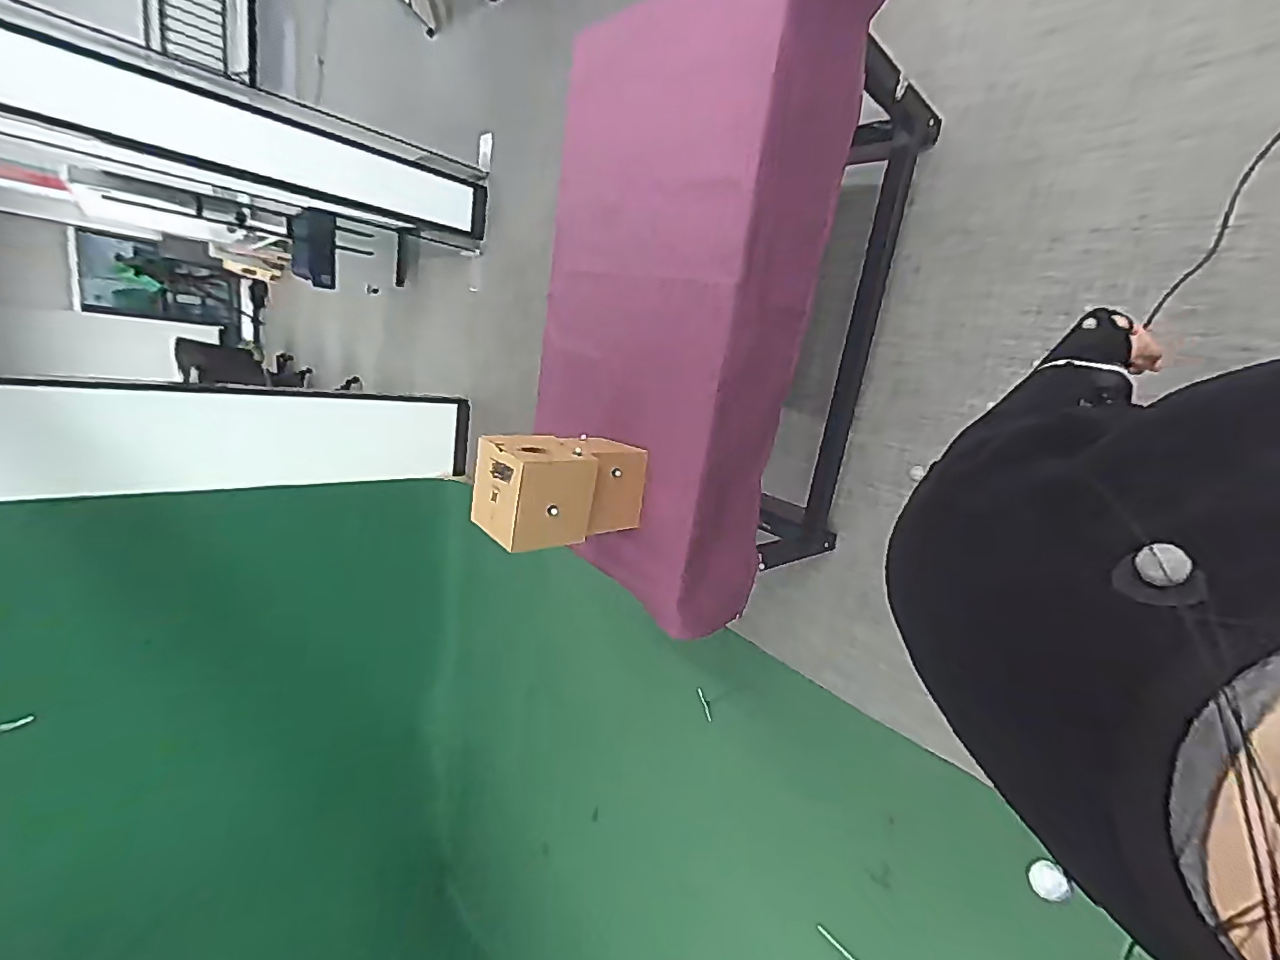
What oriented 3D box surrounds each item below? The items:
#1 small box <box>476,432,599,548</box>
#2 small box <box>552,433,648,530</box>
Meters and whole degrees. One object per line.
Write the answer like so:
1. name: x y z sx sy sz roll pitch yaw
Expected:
1. small box: -0.200 0.010 1.061 0.168 0.176 0.179 27 113 42
2. small box: -0.101 -0.003 1.195 0.168 0.176 0.179 20 108 44
